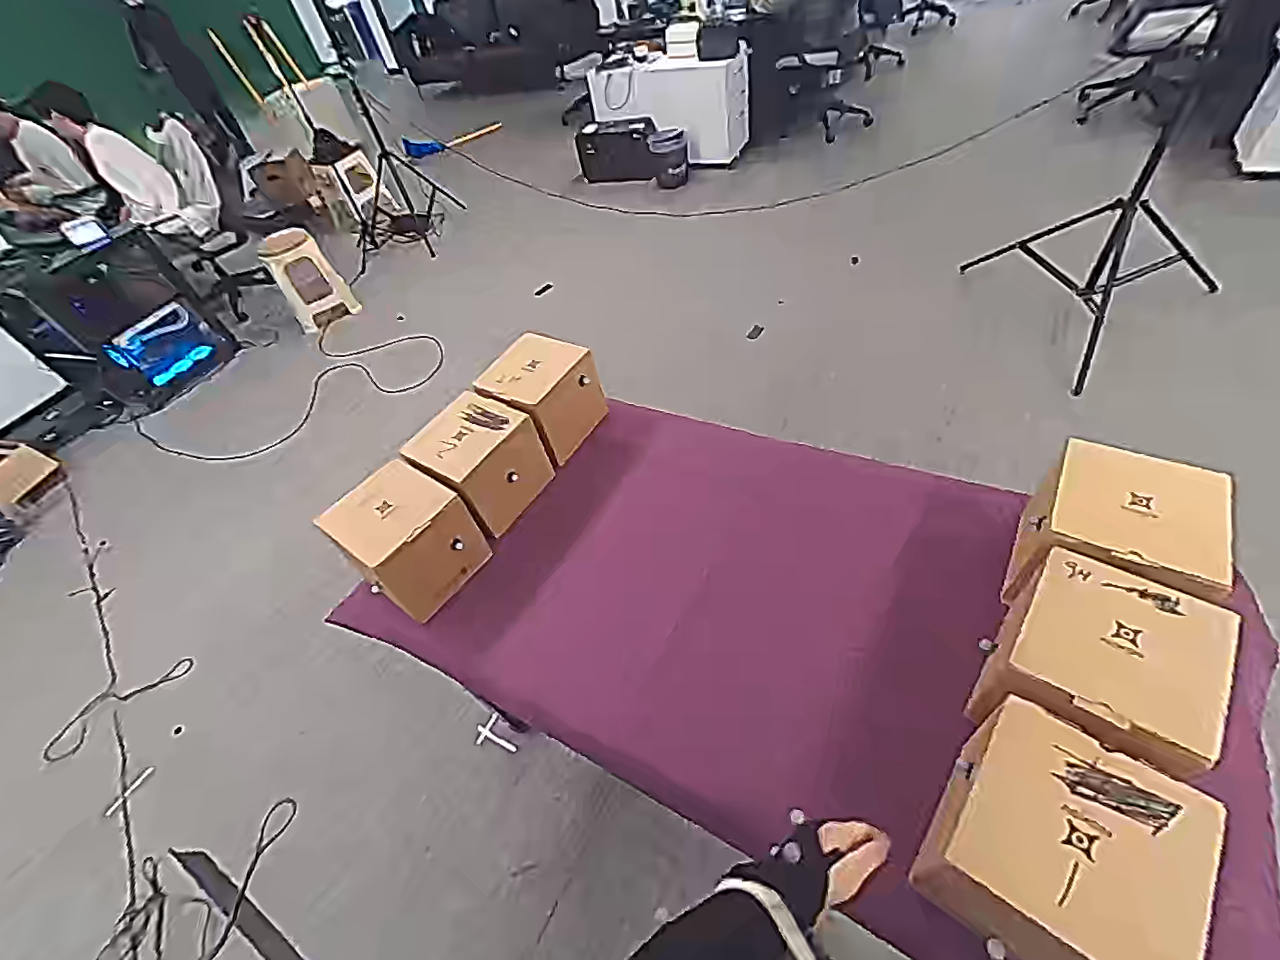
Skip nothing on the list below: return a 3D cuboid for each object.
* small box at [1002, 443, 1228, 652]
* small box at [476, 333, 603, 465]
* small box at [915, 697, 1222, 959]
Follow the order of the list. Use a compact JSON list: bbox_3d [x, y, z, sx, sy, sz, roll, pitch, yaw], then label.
[{"bbox_3d":[0.603,0.087,0.704,0.168,0.176,0.179,21,56,27],"label":"small box"},{"bbox_3d":[-0.191,-0.164,1.092,0.168,0.176,0.179,21,58,27],"label":"small box"},{"bbox_3d":[0.389,0.354,0.518,0.168,0.176,0.179,27,60,32],"label":"small box"}]
